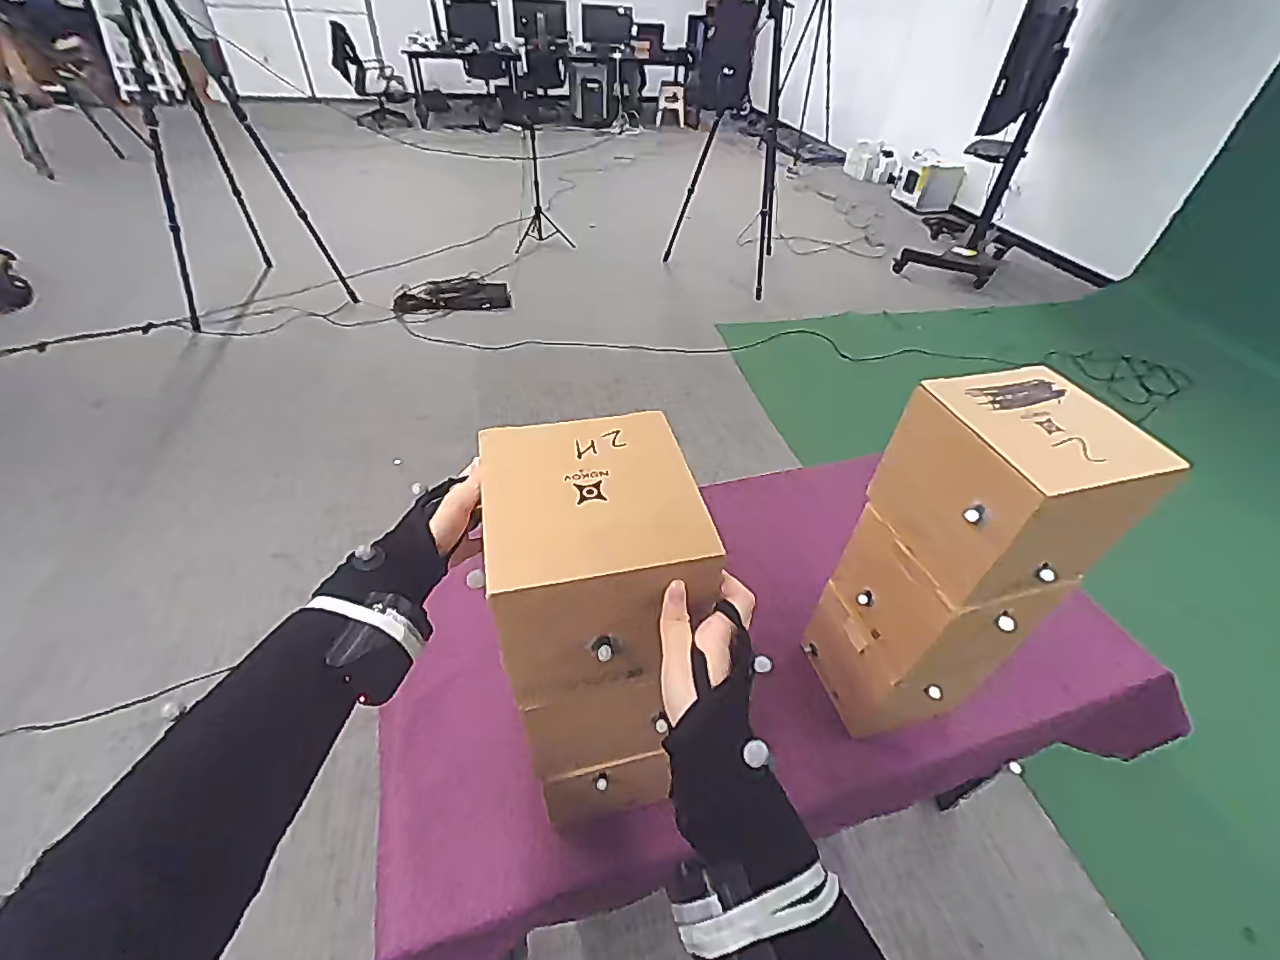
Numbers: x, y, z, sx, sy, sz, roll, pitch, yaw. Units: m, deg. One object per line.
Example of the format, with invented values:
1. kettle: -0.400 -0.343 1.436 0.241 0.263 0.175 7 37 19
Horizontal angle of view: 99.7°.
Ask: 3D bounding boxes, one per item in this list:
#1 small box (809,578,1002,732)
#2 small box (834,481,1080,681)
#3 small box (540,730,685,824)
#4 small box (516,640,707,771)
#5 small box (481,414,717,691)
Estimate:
1. small box: 0.370 0.246 0.798 0.179 0.176 0.168 -8 45 -13
2. small box: 0.381 0.127 0.687 0.179 0.176 0.168 -10 45 -13
3. small box: -0.051 0.310 0.703 0.168 0.176 0.179 -9 44 -12
4. small box: -0.043 0.190 0.591 0.179 0.176 0.168 -8 44 -11
5. small box: -0.043 0.066 0.478 0.168 0.176 0.179 -7 44 -11
